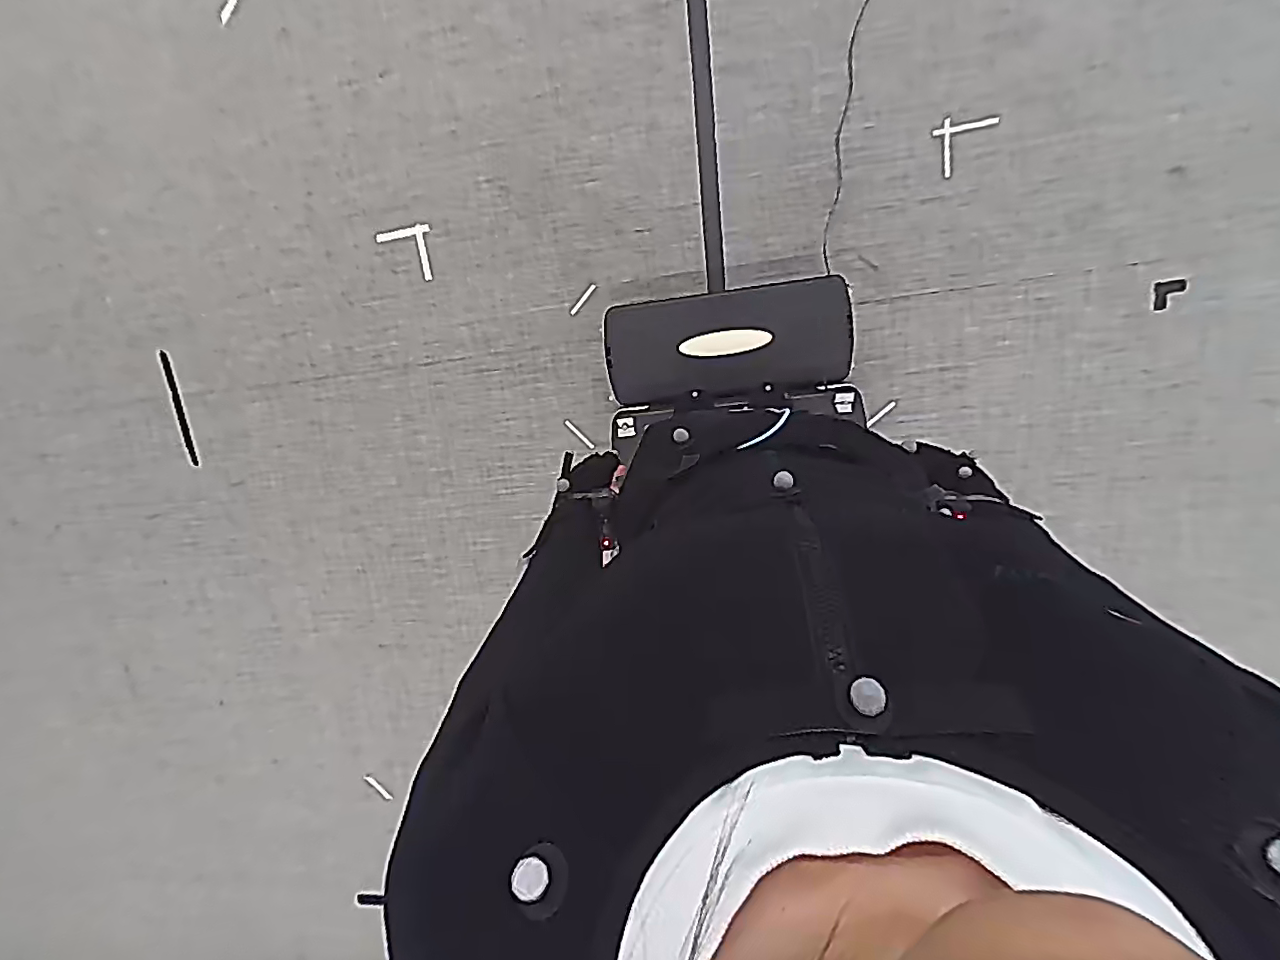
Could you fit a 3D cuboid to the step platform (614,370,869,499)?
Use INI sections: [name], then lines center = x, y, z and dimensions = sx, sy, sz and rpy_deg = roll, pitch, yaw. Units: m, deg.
[step platform]
center = 0.269, -0.123, 1.508
dimensions = 0.684, 0.204, 0.286
rpy_deg = -6, 100, 10
